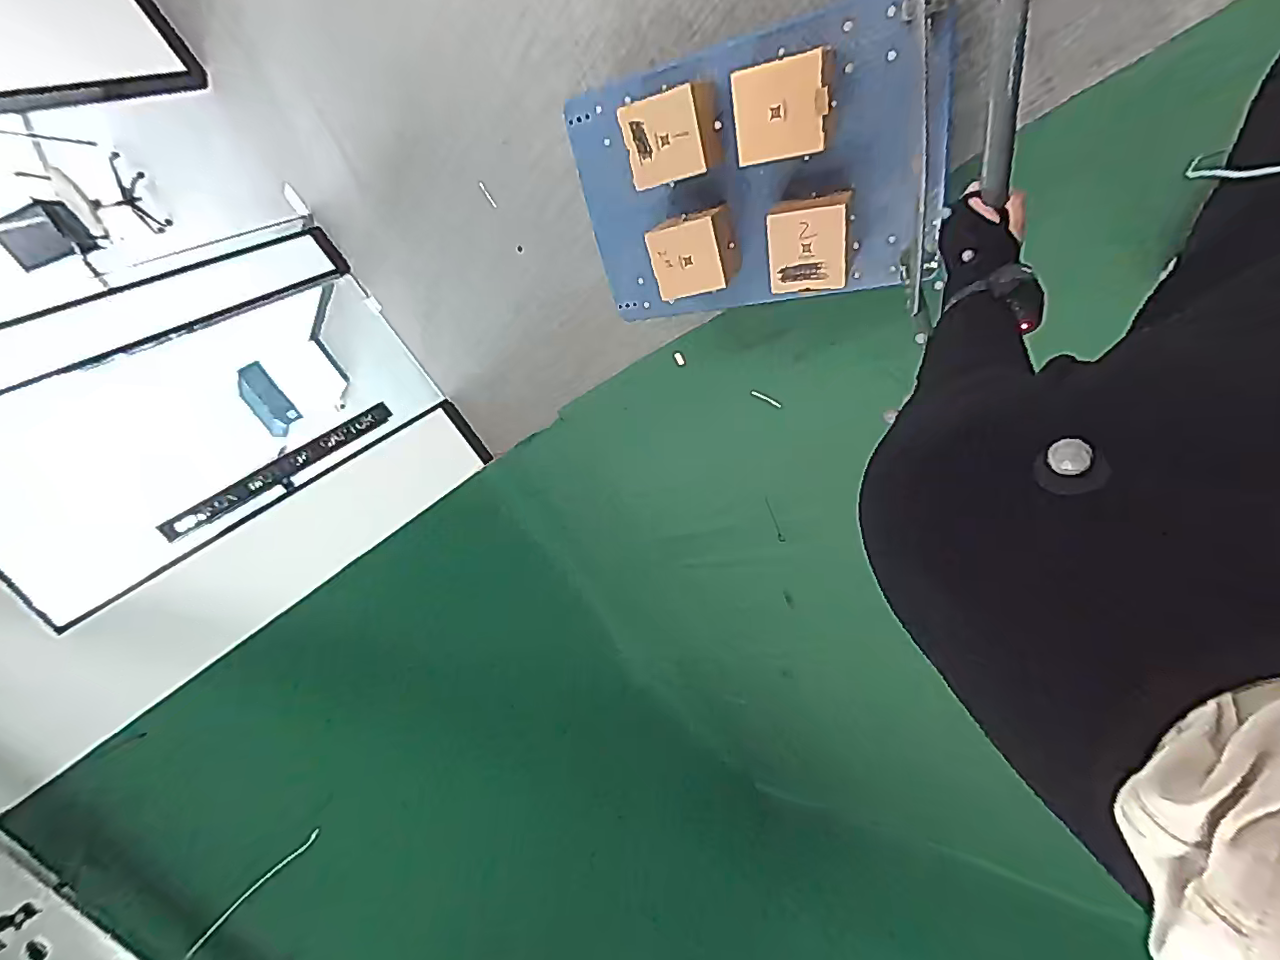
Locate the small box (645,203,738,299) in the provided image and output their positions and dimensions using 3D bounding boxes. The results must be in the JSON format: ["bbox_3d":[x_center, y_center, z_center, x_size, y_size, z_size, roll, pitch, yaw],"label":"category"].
[{"bbox_3d":[0.139,-0.578,1.363,0.179,0.176,0.168,-3,124,28],"label":"small box"}]

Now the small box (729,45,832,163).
[{"bbox_3d":[0.299,-0.779,1.125,0.179,0.176,0.168,2,126,25],"label":"small box"}]

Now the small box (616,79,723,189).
[{"bbox_3d":[0.074,-0.786,1.230,0.179,0.176,0.168,-1,126,27],"label":"small box"}]
